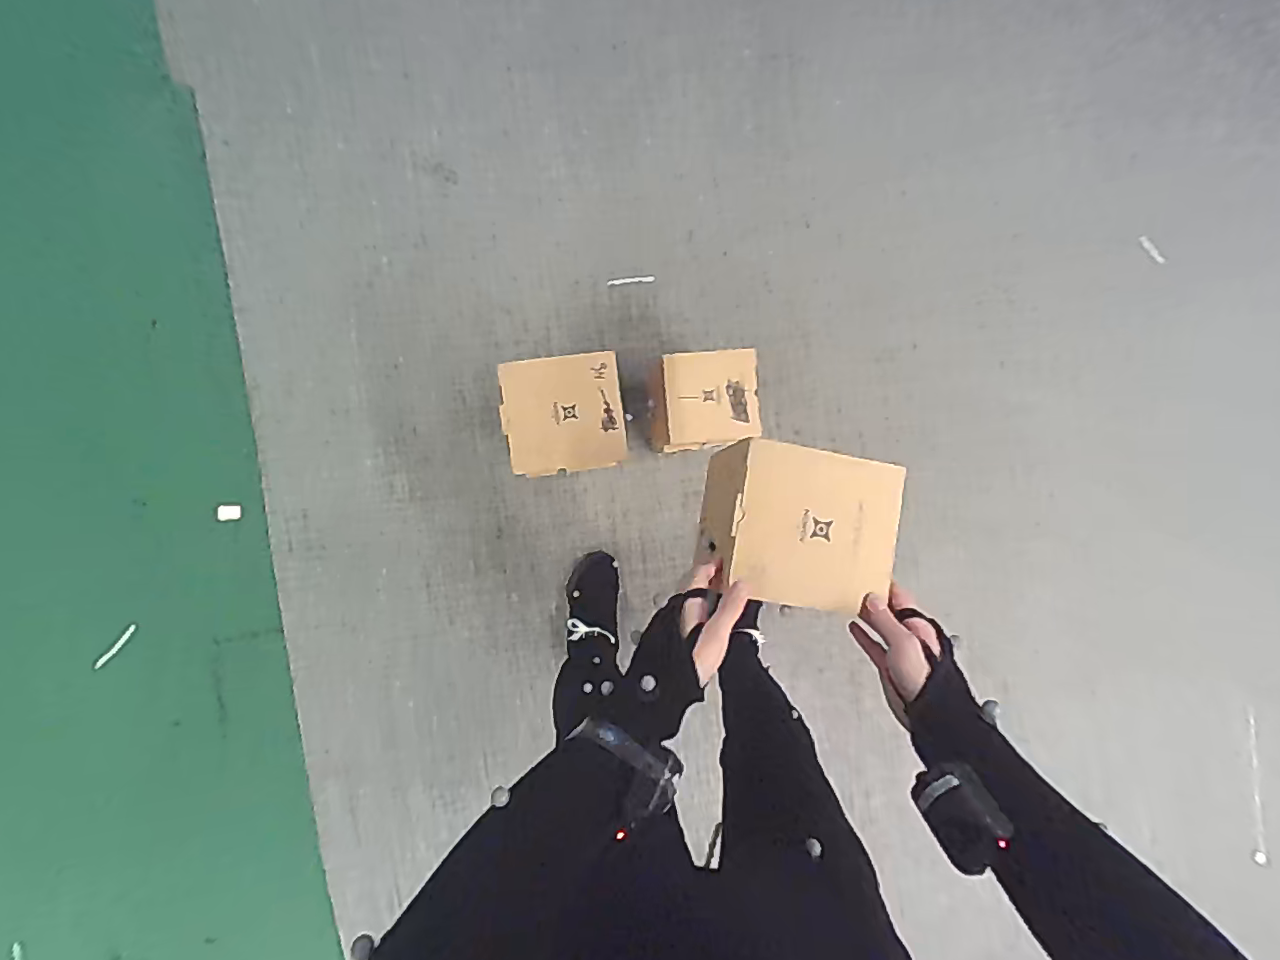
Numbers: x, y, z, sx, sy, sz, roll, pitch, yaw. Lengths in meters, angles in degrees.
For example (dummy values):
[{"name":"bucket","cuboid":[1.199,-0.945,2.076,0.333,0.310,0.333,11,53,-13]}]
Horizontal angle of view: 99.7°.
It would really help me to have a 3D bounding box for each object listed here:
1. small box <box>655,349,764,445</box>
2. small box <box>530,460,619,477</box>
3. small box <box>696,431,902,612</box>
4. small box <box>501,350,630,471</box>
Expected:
[{"name":"small box","cuboid":[0.131,-0.158,1.068,0.179,0.176,0.168,-5,92,-5]},{"name":"small box","cuboid":[-0.134,-0.107,1.043,0.168,0.176,0.179,-9,93,-6]},{"name":"small box","cuboid":[0.175,0.049,0.646,0.179,0.176,0.168,11,86,-6]},{"name":"small box","cuboid":[-0.116,-0.106,0.880,0.179,0.176,0.168,-8,94,-5]}]
